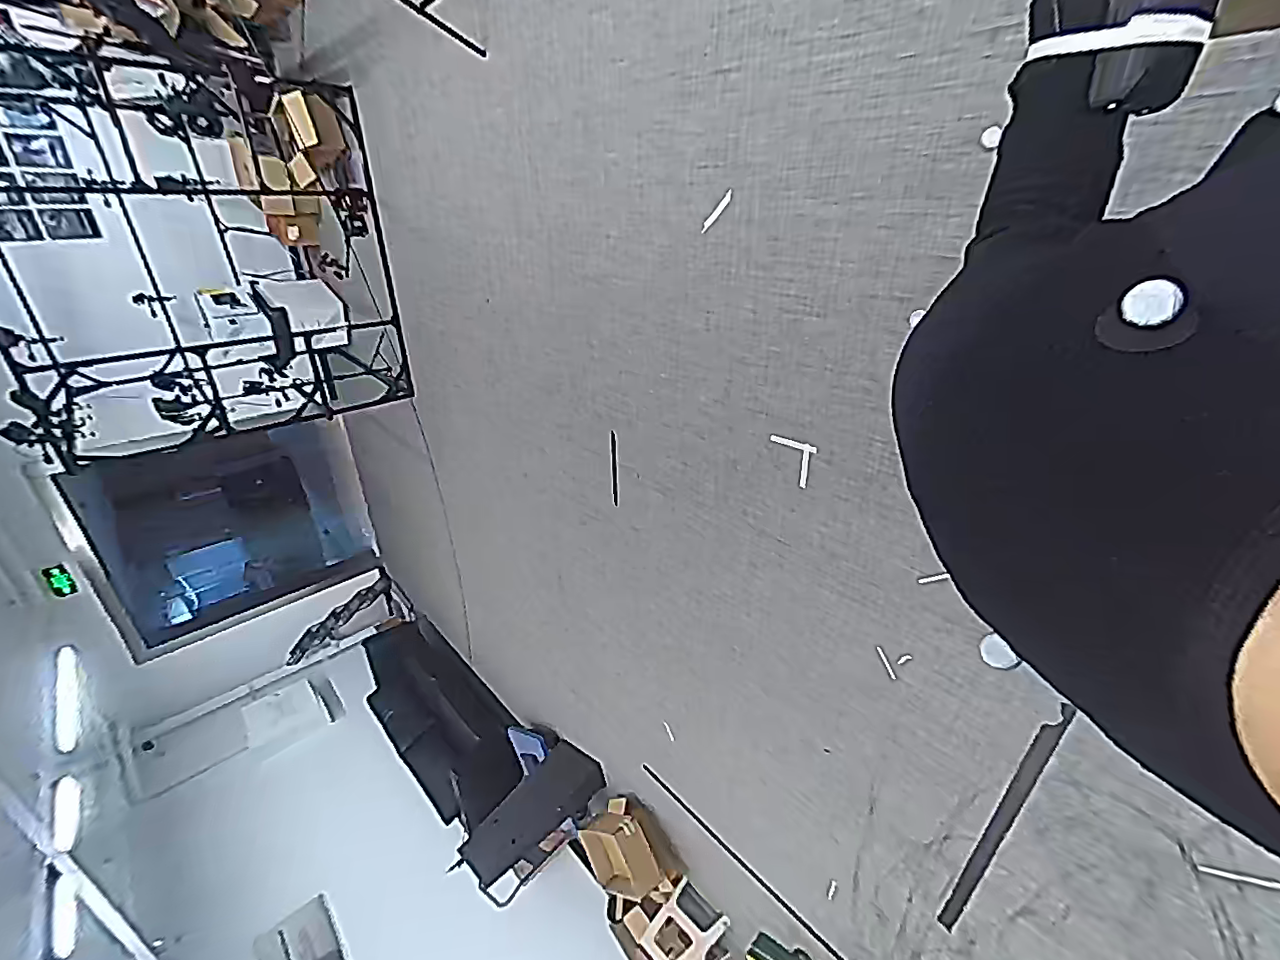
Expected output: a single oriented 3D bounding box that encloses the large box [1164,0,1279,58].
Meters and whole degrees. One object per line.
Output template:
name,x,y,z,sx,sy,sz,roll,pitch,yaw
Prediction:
large box,0.542,-0.427,0.225,0.408,0.320,0.320,22,127,39
